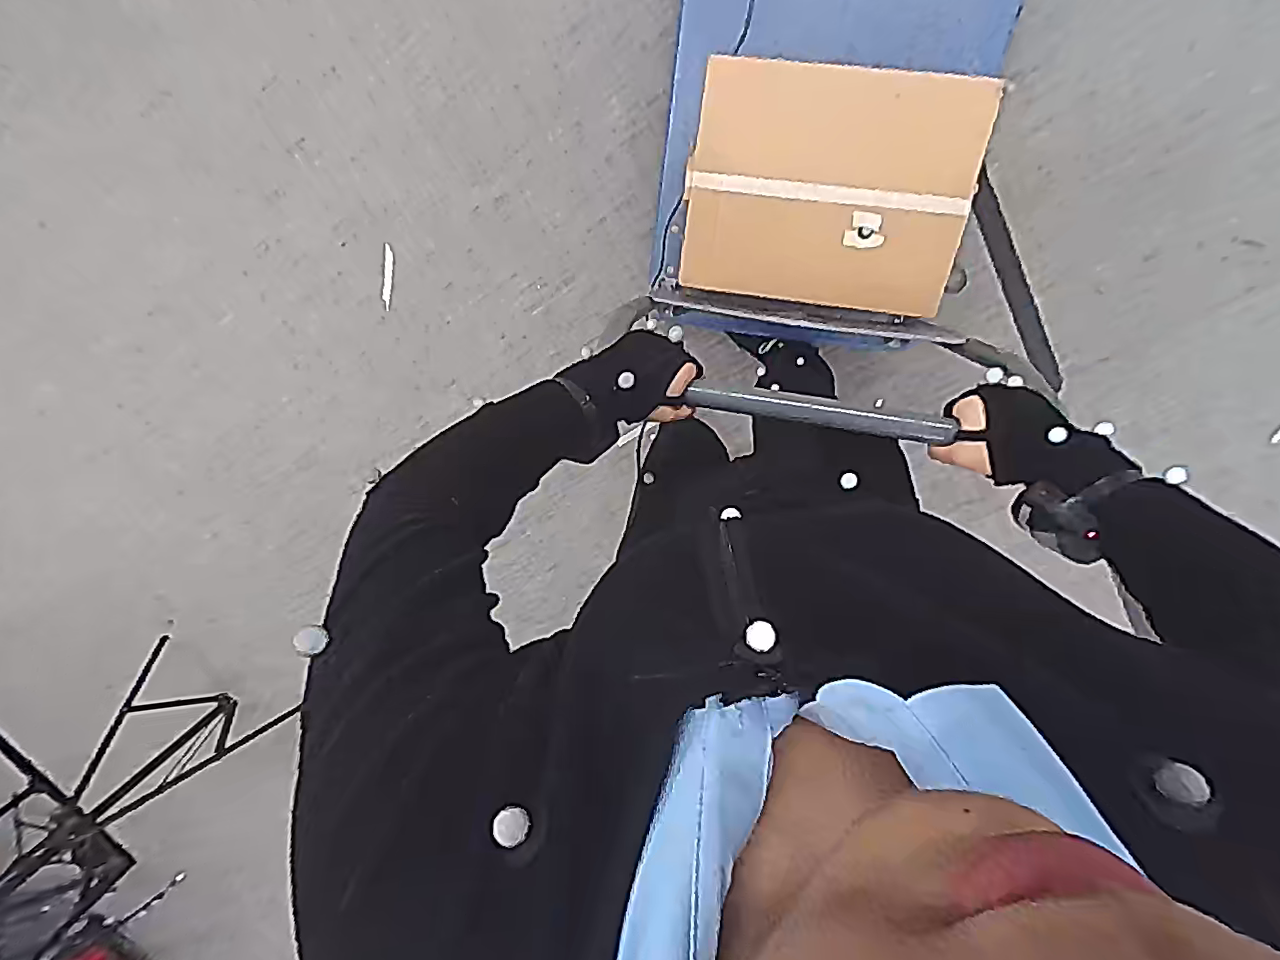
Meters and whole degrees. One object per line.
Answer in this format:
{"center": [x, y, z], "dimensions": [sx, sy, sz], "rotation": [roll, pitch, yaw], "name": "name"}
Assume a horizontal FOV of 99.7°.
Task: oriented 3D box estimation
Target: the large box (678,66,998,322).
{"center": [0.290, -0.466, 0.934], "dimensions": [0.408, 0.320, 0.320], "rotation": [9, 113, 5], "name": "large box"}
